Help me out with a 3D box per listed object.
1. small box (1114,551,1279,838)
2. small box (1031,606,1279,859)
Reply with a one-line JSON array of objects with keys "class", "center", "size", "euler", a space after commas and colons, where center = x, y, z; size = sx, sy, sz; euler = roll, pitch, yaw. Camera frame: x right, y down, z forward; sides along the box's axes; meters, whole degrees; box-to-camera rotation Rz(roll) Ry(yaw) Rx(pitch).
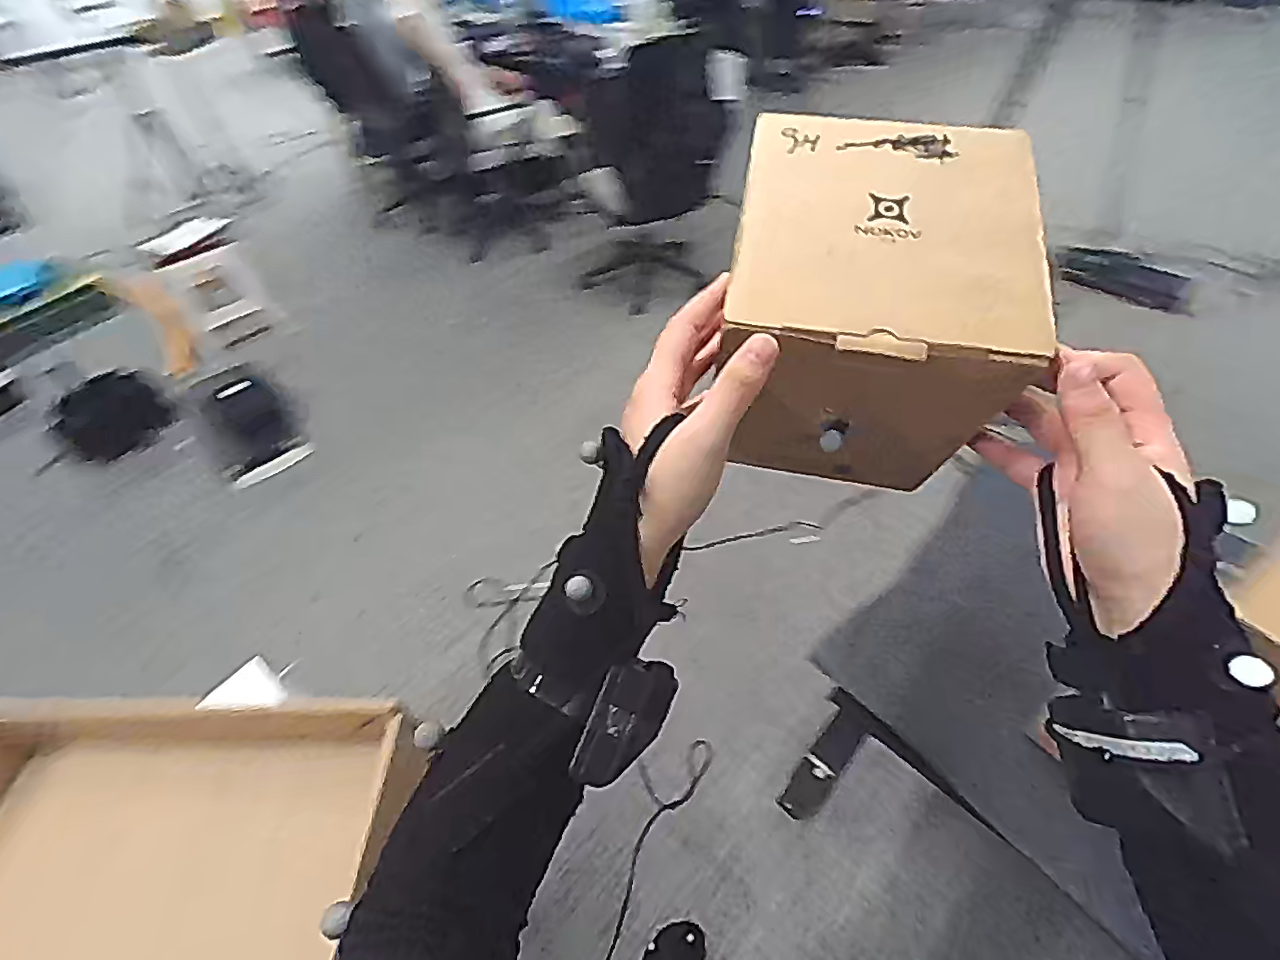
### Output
[{"class": "small box", "center": [0.582, 0.176, 0.472], "size": [0.179, 0.176, 0.168], "euler": [-27, 52, -17]}, {"class": "small box", "center": [0.593, 0.281, 0.596], "size": [0.168, 0.176, 0.179], "euler": [-30, 54, -22]}]
